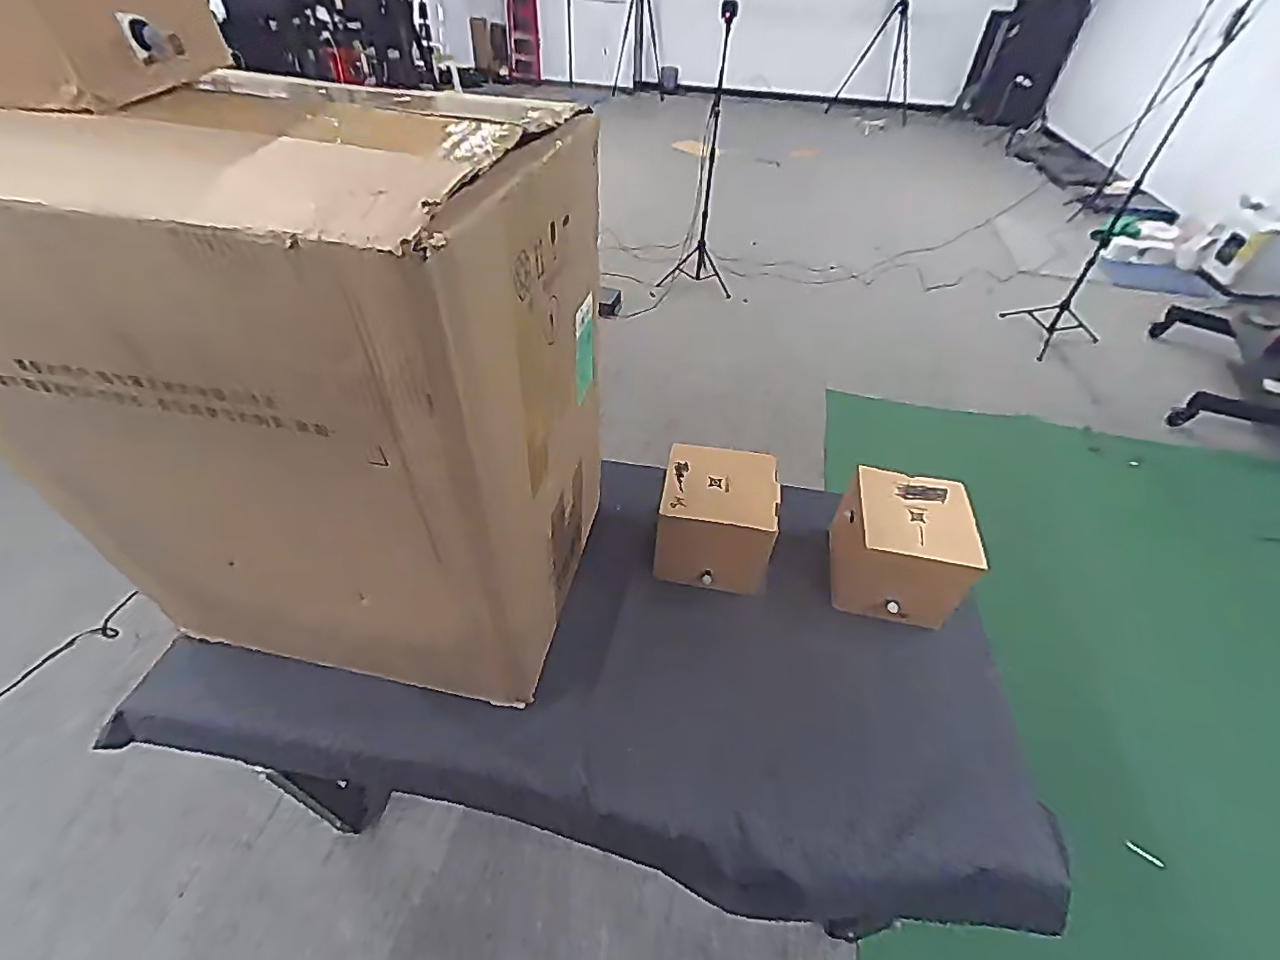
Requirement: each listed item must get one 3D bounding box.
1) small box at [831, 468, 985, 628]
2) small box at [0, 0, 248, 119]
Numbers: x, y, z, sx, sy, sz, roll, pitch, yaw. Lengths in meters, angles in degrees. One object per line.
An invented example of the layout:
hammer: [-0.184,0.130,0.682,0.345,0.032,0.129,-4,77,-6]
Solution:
small box: [0.416,0.110,0.876,0.168,0.176,0.179,10,46,7]
small box: [-0.465,-0.400,0.416,0.179,0.176,0.168,6,50,2]
